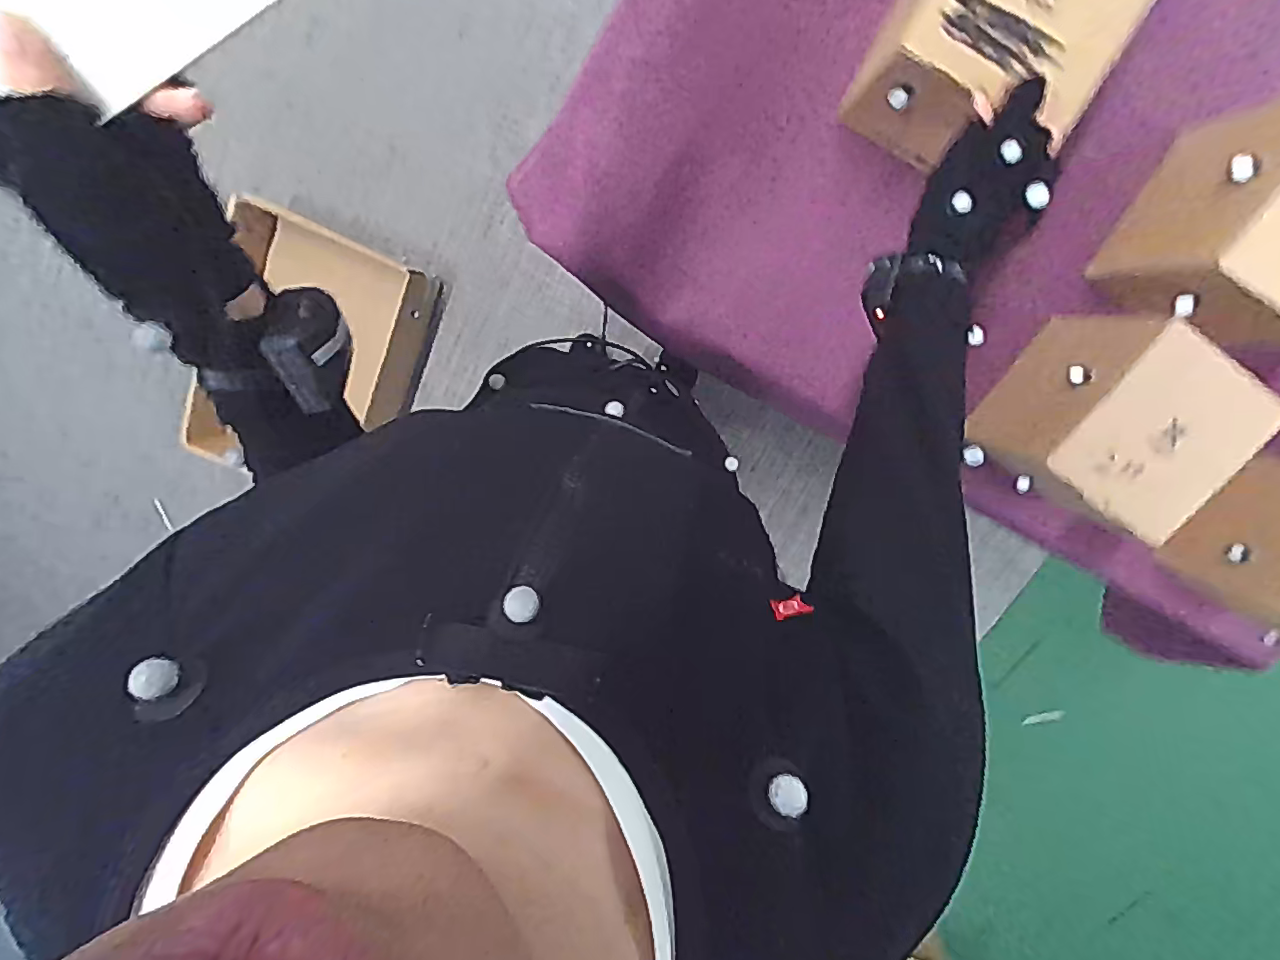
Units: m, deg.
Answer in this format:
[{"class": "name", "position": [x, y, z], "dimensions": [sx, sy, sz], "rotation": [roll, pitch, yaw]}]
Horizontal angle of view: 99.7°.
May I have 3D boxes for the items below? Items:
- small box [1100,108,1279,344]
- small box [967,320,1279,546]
[{"class": "small box", "position": [0.641, -0.252, 0.560], "dimensions": [0.168, 0.176, 0.179], "rotation": [28, 105, -7]}, {"class": "small box", "position": [0.526, -0.063, 0.616], "dimensions": [0.168, 0.176, 0.179], "rotation": [33, 104, -8]}]
